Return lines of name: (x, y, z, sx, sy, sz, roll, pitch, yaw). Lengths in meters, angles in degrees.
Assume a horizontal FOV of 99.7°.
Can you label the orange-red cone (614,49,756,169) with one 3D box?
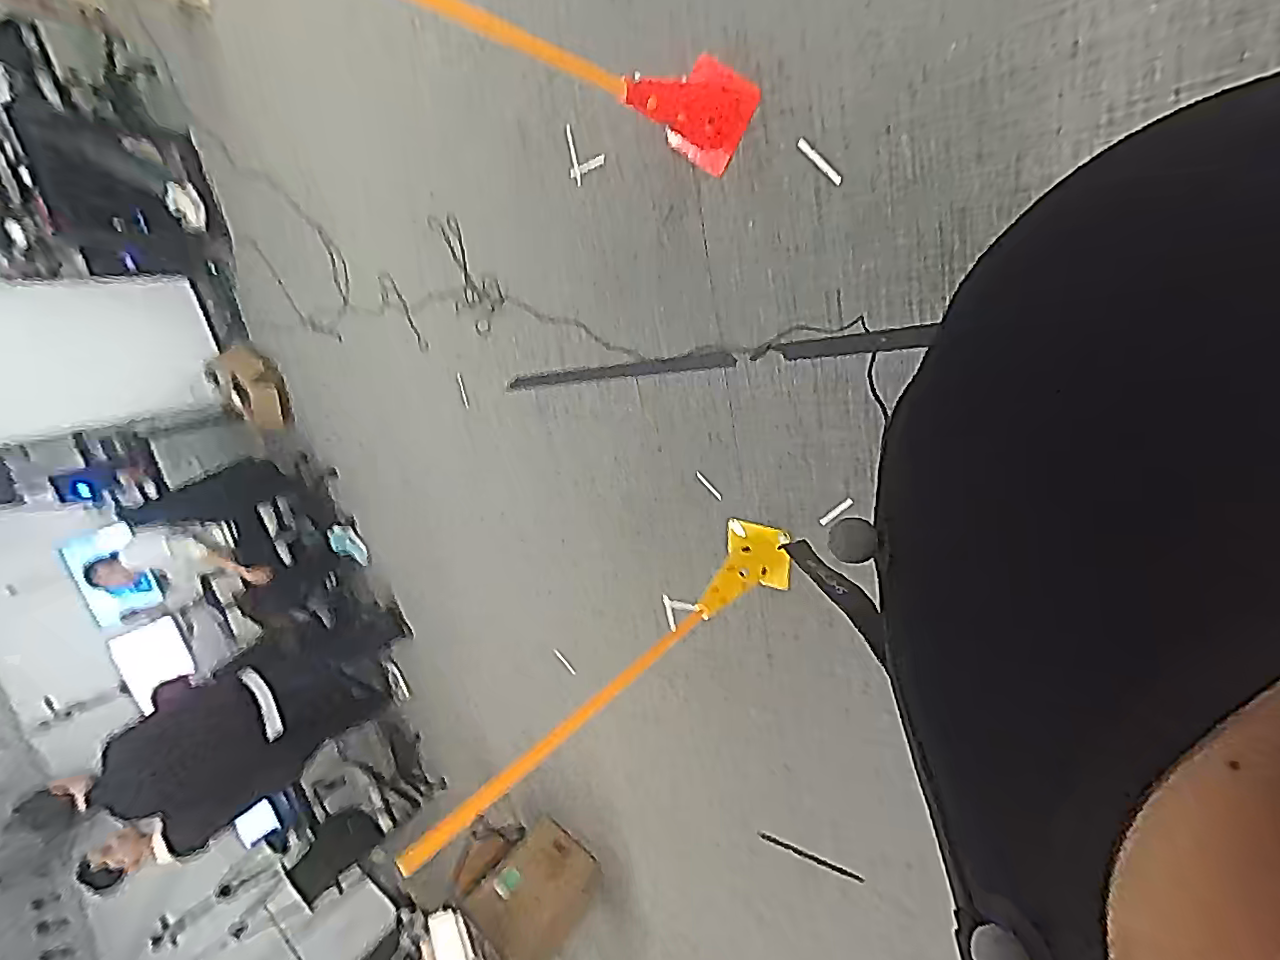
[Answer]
orange-red cone: (0.068, -0.835, 1.187, 0.199, 0.360, 0.198, 44, 132, 13)
